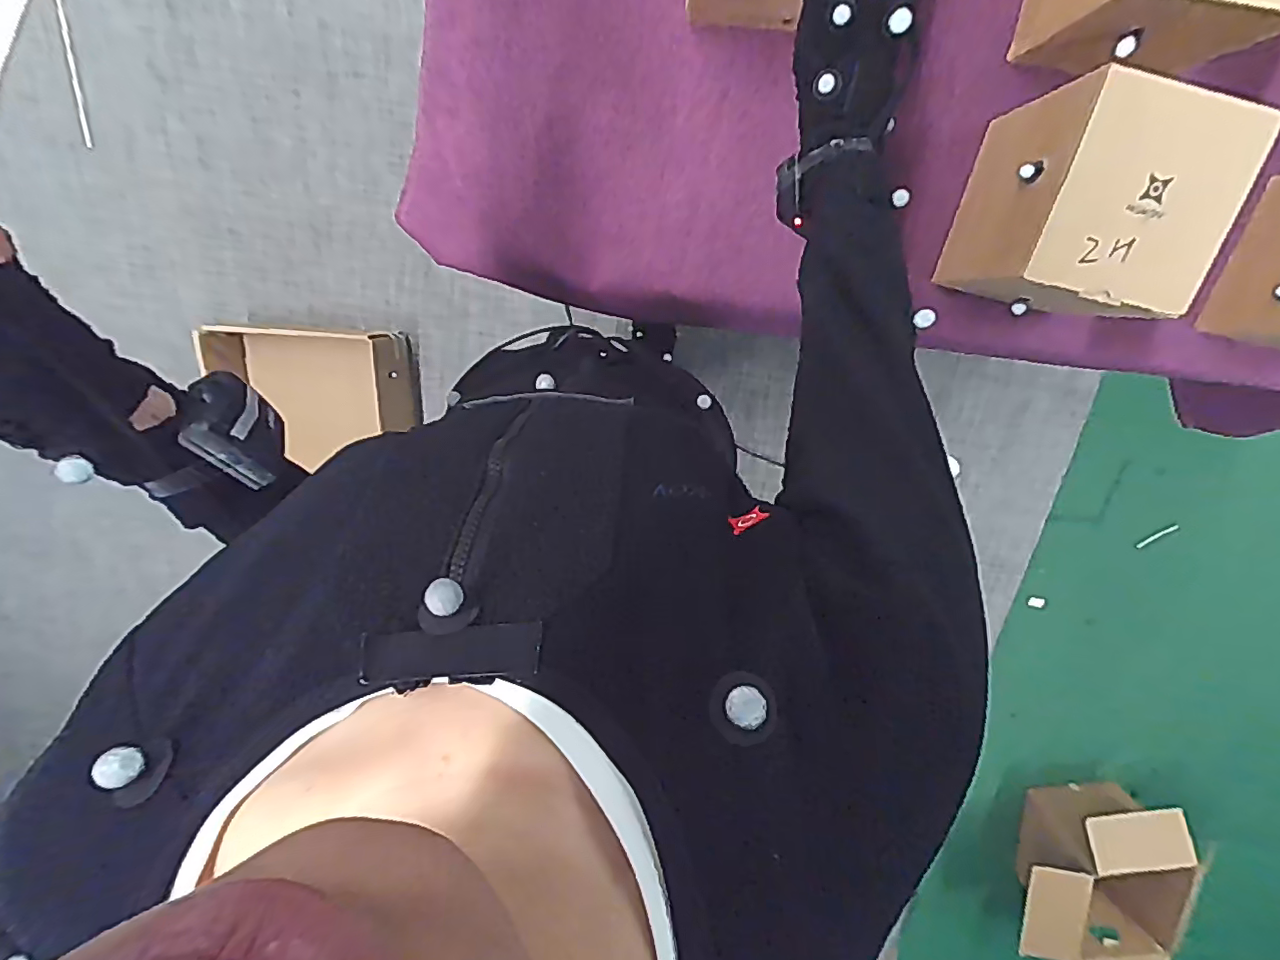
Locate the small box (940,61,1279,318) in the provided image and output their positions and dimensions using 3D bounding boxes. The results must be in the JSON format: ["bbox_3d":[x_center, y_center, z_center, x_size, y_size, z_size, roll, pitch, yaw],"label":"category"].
[{"bbox_3d":[0.448,-0.275,0.554,0.168,0.176,0.179,12,108,-4],"label":"small box"}]

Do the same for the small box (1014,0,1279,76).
[{"bbox_3d":[0.483,-0.489,0.483,0.168,0.176,0.179,7,109,-2],"label":"small box"}]
